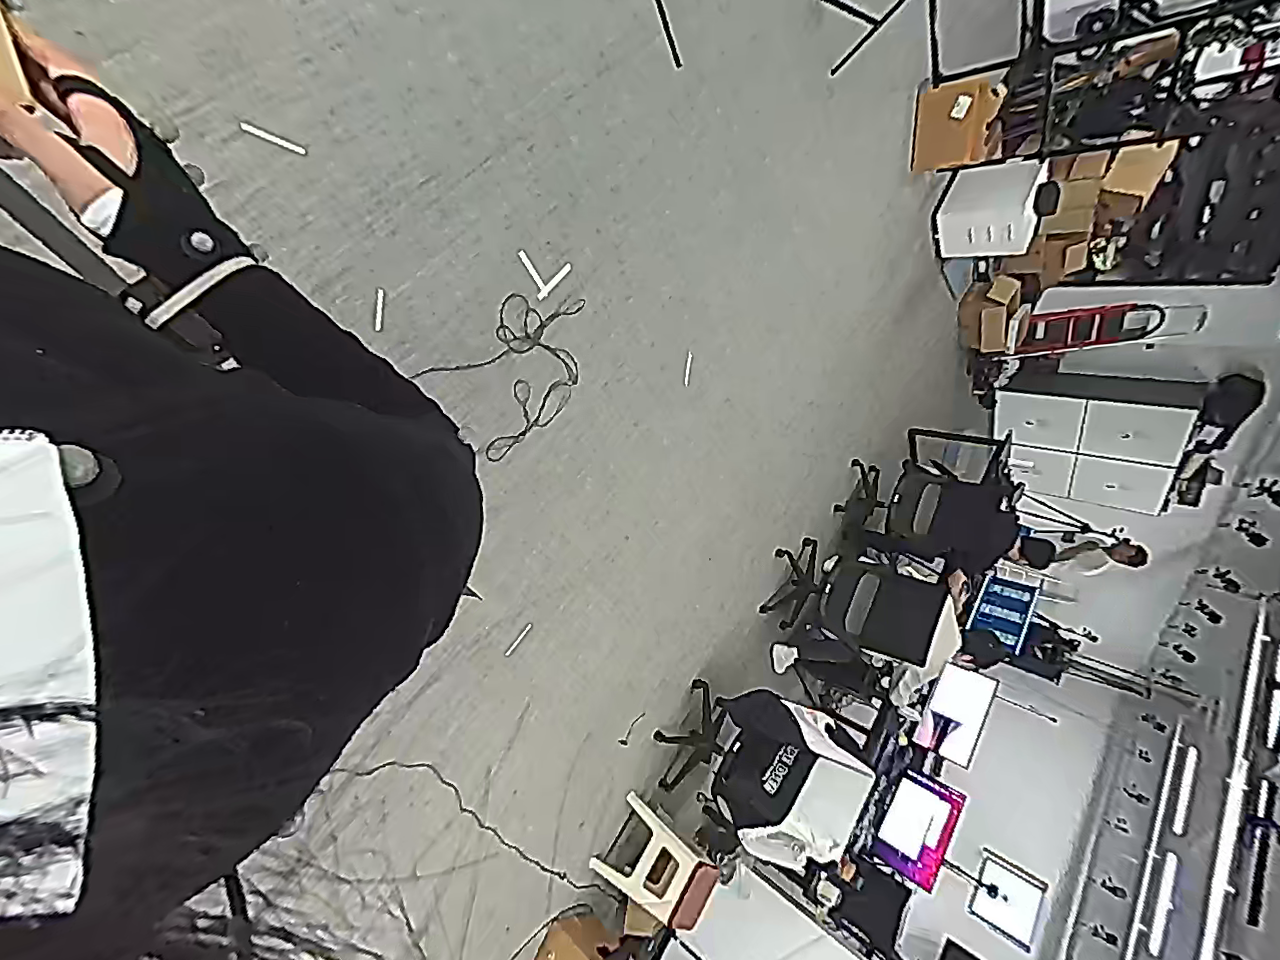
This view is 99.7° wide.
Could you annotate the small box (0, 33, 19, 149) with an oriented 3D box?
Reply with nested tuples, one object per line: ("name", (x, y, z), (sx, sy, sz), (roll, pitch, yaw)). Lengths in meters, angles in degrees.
("small box", (-0.501, -0.299, 0.300), (0.179, 0.176, 0.168), (-23, 117, -45))
